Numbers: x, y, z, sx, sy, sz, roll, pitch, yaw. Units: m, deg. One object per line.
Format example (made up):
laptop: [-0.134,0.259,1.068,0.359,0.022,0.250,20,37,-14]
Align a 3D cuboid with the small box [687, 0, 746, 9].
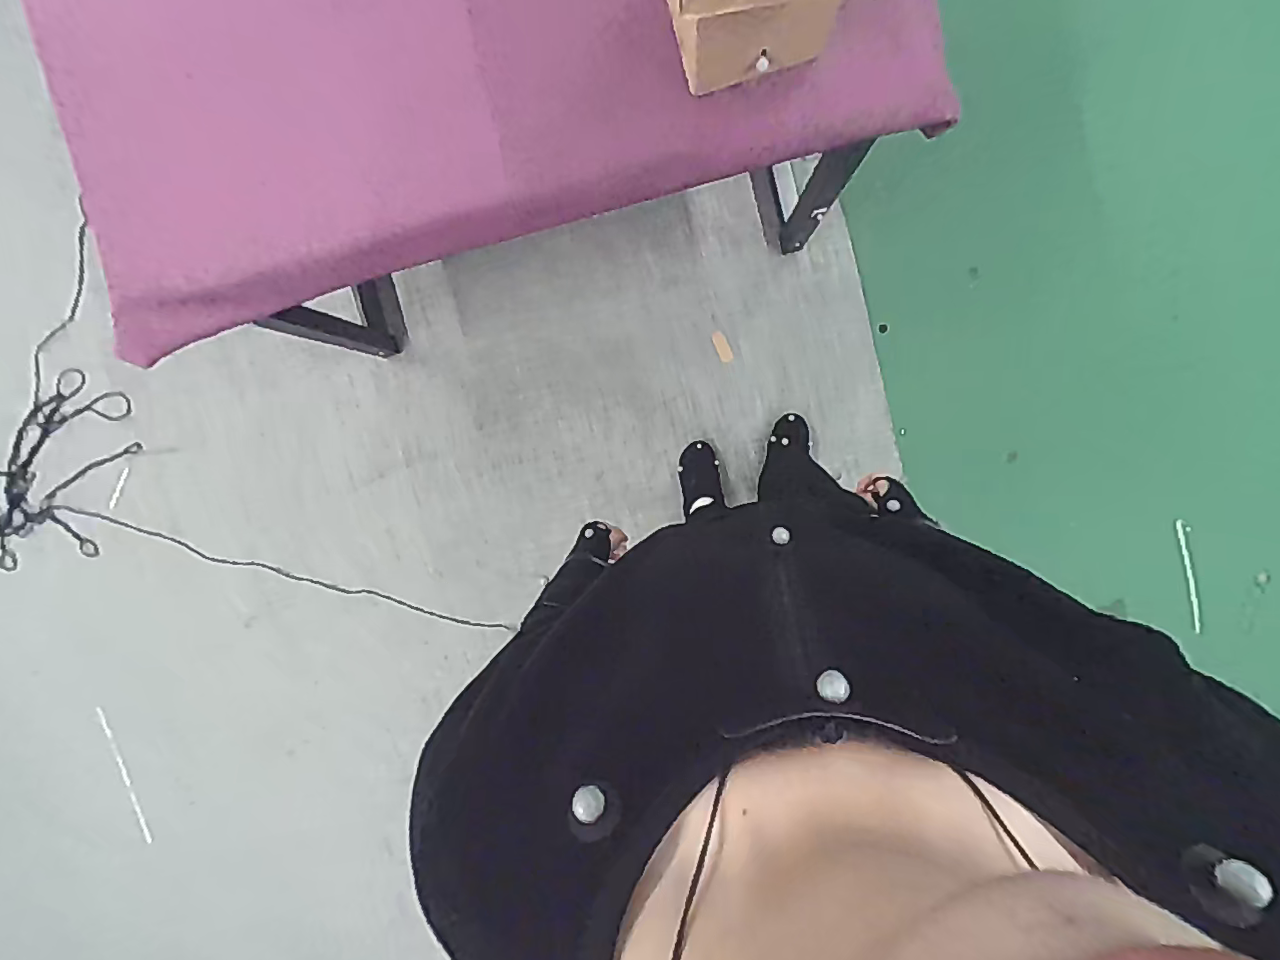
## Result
small box: [0.103,-0.570,0.465,0.168,0.176,0.179,-7,94,6]

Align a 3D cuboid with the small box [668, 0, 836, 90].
small box: [0.126,-0.604,0.625,0.179,0.176,0.168,-15,92,6]
